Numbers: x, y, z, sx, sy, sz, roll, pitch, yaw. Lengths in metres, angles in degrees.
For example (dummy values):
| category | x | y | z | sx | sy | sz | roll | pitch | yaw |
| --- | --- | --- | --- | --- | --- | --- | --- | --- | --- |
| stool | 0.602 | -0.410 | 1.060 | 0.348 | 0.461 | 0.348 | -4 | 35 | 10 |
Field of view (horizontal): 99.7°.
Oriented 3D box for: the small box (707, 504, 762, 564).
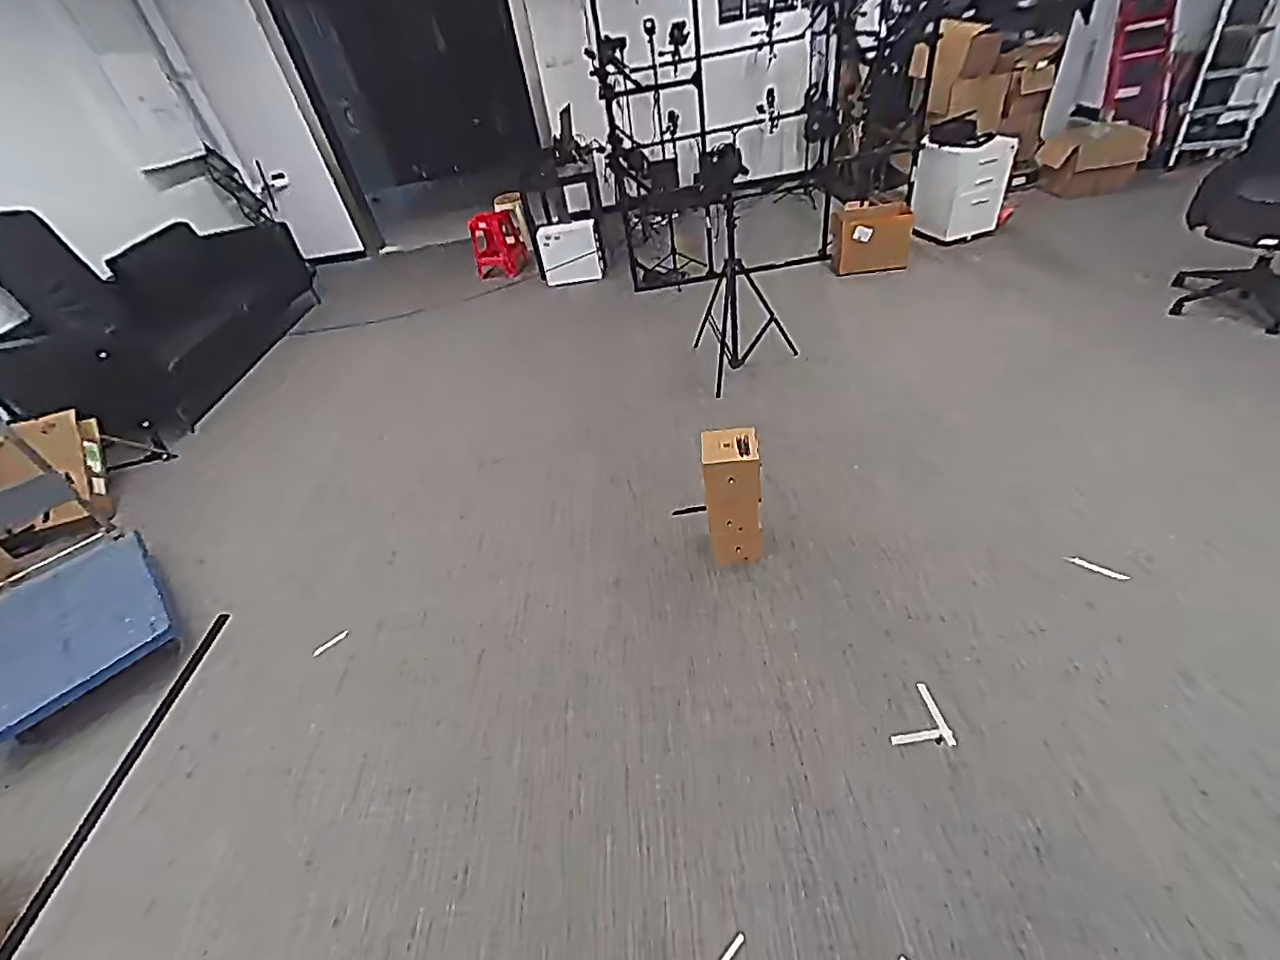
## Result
| category | x | y | z | sx | sy | sz | roll | pitch | yaw |
| --- | --- | --- | --- | --- | --- | --- | --- | --- | --- |
| small box | 0.346 | 0.190 | 1.967 | 0.168 | 0.176 | 0.179 | -9 | 39 | 1 |

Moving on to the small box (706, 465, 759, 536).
| category | x | y | z | sx | sy | sz | roll | pitch | yaw |
| --- | --- | --- | --- | --- | --- | --- | --- | --- | --- |
| small box | 0.316 | 0.071 | 1.860 | 0.168 | 0.176 | 0.179 | -6 | 40 | 7 |
